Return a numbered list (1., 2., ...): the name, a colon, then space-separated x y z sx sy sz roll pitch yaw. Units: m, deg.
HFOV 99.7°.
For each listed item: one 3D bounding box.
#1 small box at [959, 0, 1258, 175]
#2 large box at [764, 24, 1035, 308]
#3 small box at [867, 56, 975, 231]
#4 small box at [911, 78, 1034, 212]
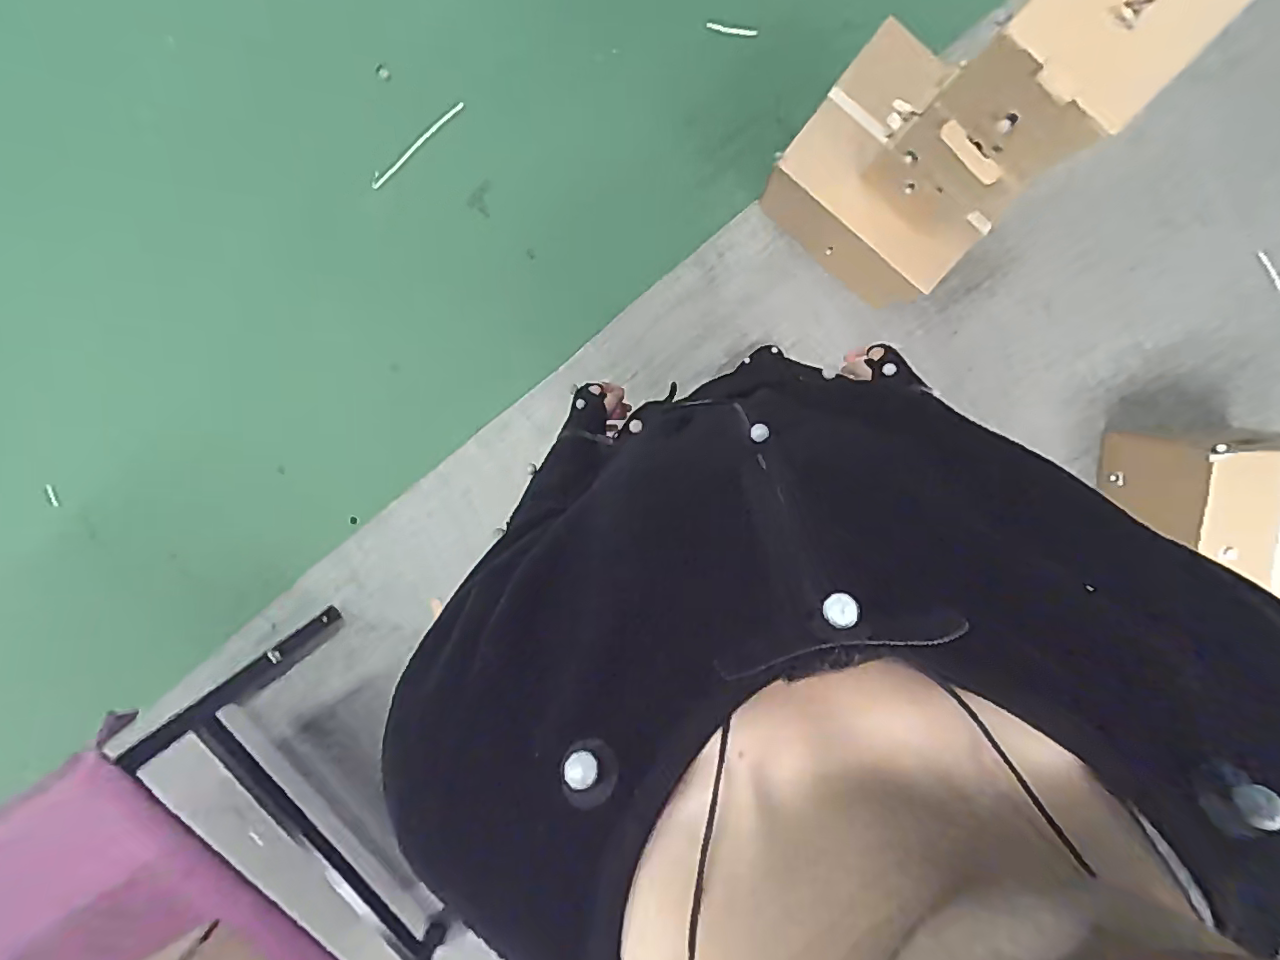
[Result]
1. small box: 0.508 -0.495 0.624 0.168 0.176 0.179 43 105 -5
2. large box: 0.534 -0.635 1.180 0.408 0.320 0.320 39 102 -2
3. small box: 0.532 -0.566 0.943 0.179 0.176 0.168 42 104 -5
4. small box: 0.526 -0.527 0.784 0.168 0.176 0.179 44 104 -5
